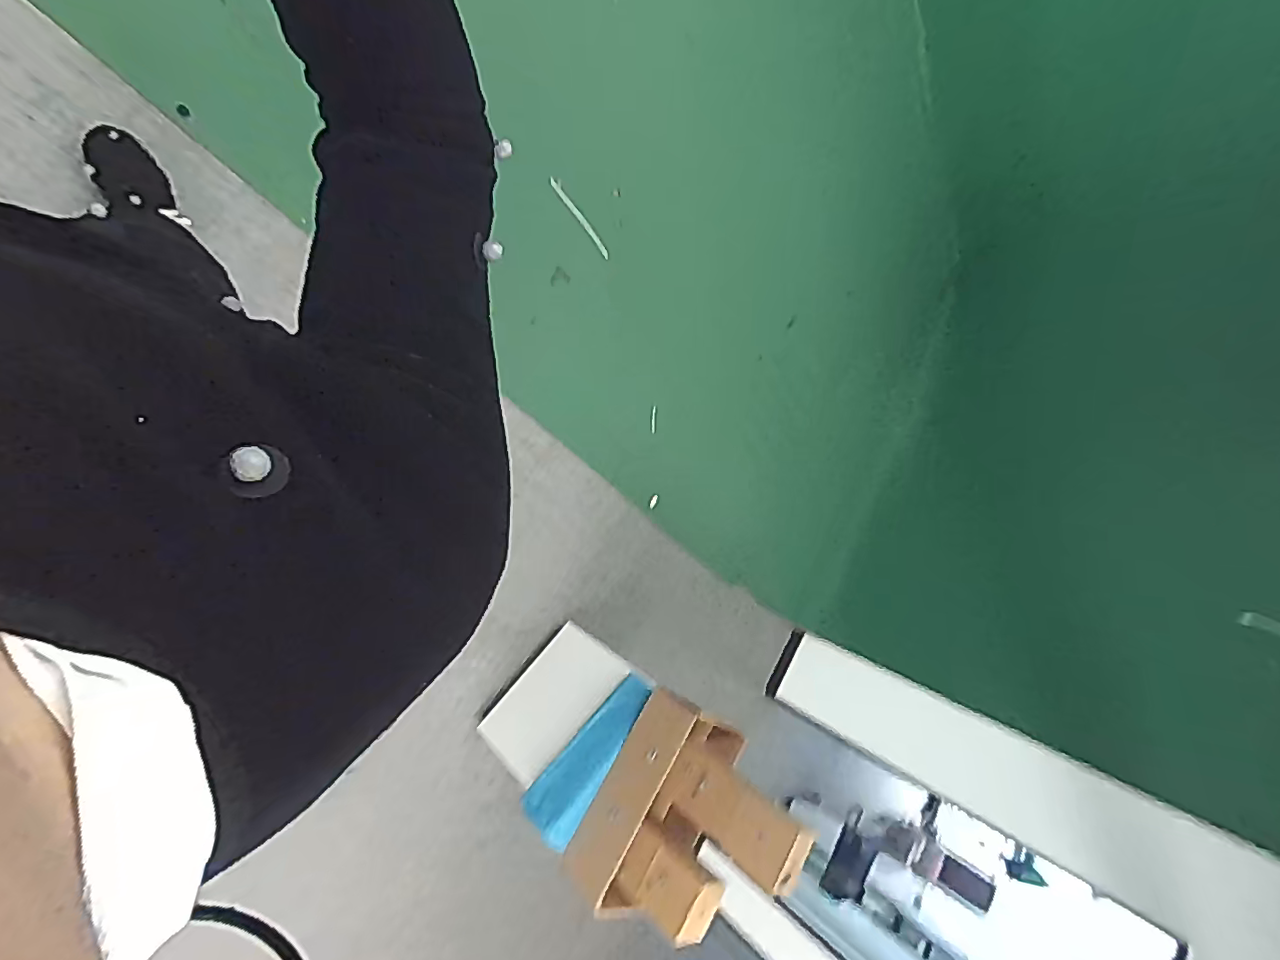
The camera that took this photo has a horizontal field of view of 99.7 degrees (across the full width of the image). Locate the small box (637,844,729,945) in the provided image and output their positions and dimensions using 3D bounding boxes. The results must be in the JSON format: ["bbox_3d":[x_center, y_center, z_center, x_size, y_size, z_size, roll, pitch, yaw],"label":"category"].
[{"bbox_3d":[0.125,1.202,1.580,0.168,0.176,0.179,-58,135,-13],"label":"small box"}]

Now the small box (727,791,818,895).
[{"bbox_3d":[0.365,1.013,1.513,0.168,0.176,0.179,44,72,-45],"label":"small box"}]

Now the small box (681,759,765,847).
[{"bbox_3d":[0.259,0.972,1.631,0.168,0.176,0.179,-58,135,-12],"label":"small box"}]
